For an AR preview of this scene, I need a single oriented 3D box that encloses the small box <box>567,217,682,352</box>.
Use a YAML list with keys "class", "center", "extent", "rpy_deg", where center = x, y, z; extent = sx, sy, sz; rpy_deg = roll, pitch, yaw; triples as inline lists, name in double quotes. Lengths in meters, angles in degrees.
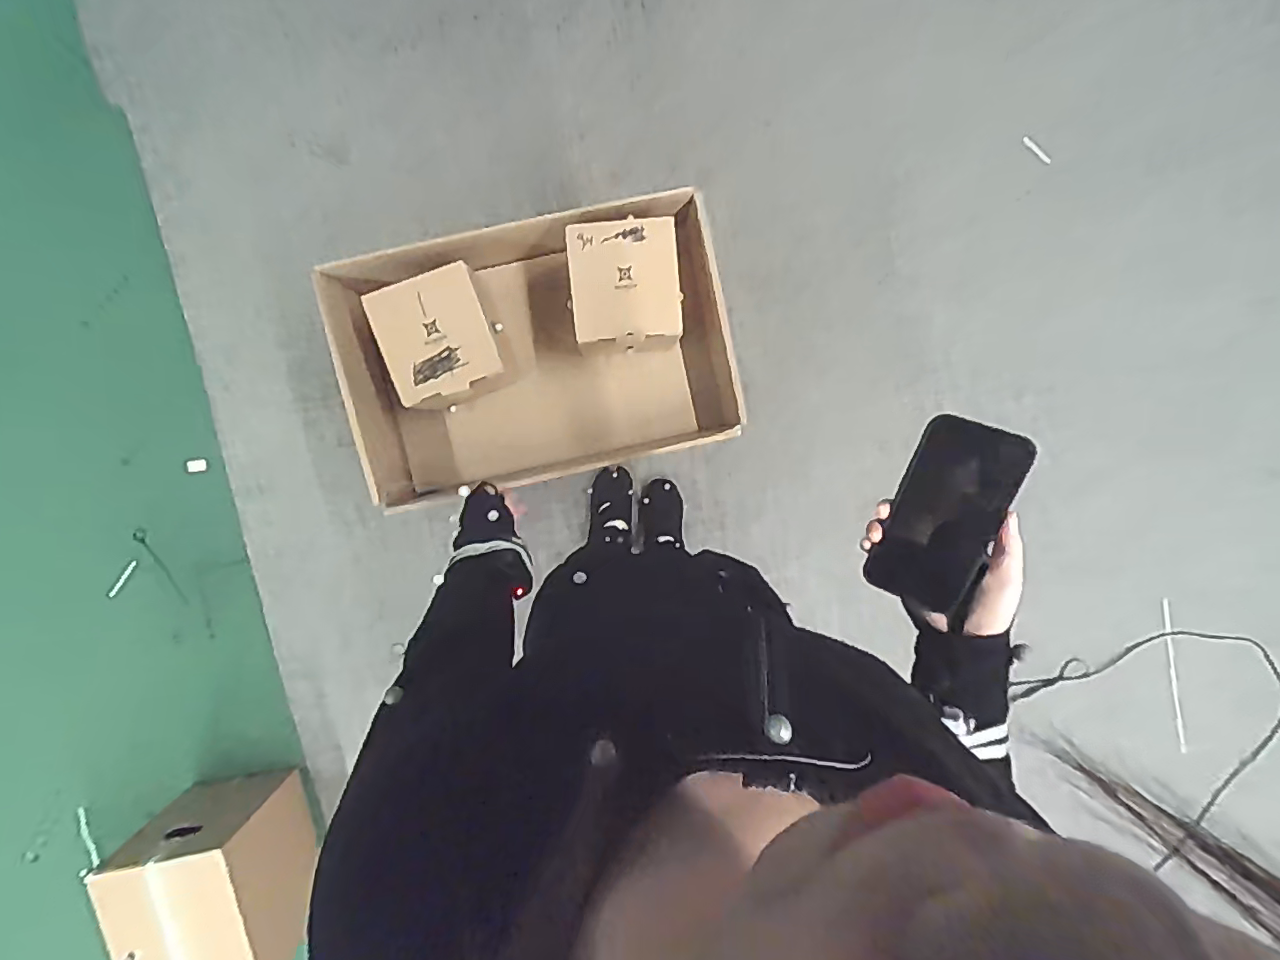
- class: "small box"
  center: [-0.023, -0.309, 0.892]
  extent: [0.168, 0.176, 0.179]
  rpy_deg: [-5, 97, -1]
